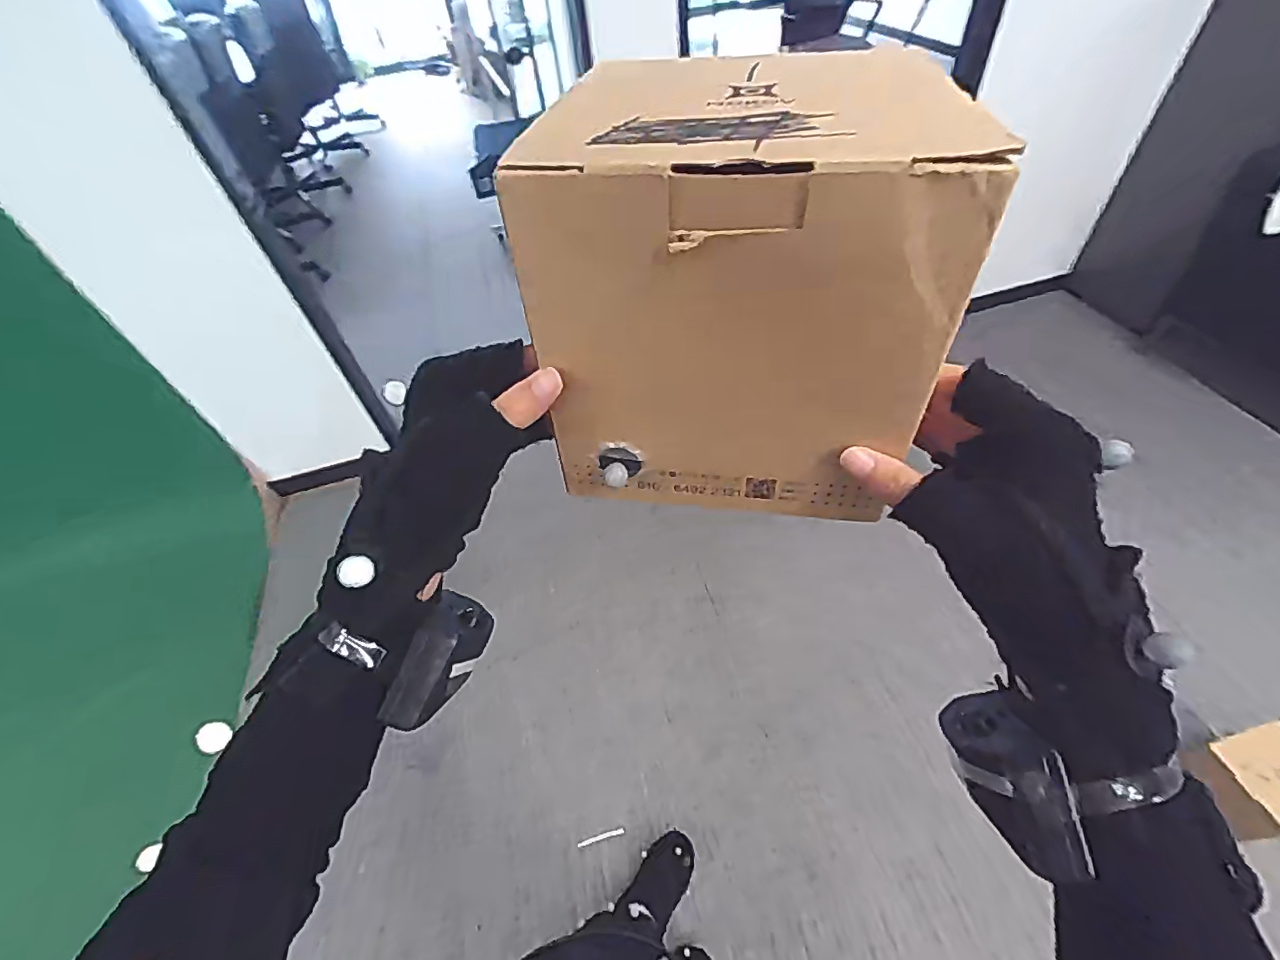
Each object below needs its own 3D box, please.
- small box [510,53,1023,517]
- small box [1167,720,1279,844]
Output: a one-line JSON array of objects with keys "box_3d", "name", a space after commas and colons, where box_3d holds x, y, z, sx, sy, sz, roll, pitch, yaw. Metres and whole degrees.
[{"box_3d": [0.054, -0.100, 0.285, 0.168, 0.176, 0.179, 5, 46, 9], "name": "small box"}, {"box_3d": [1.276, 0.628, 1.121, 0.179, 0.176, 0.168, -16, 49, -5], "name": "small box"}]
